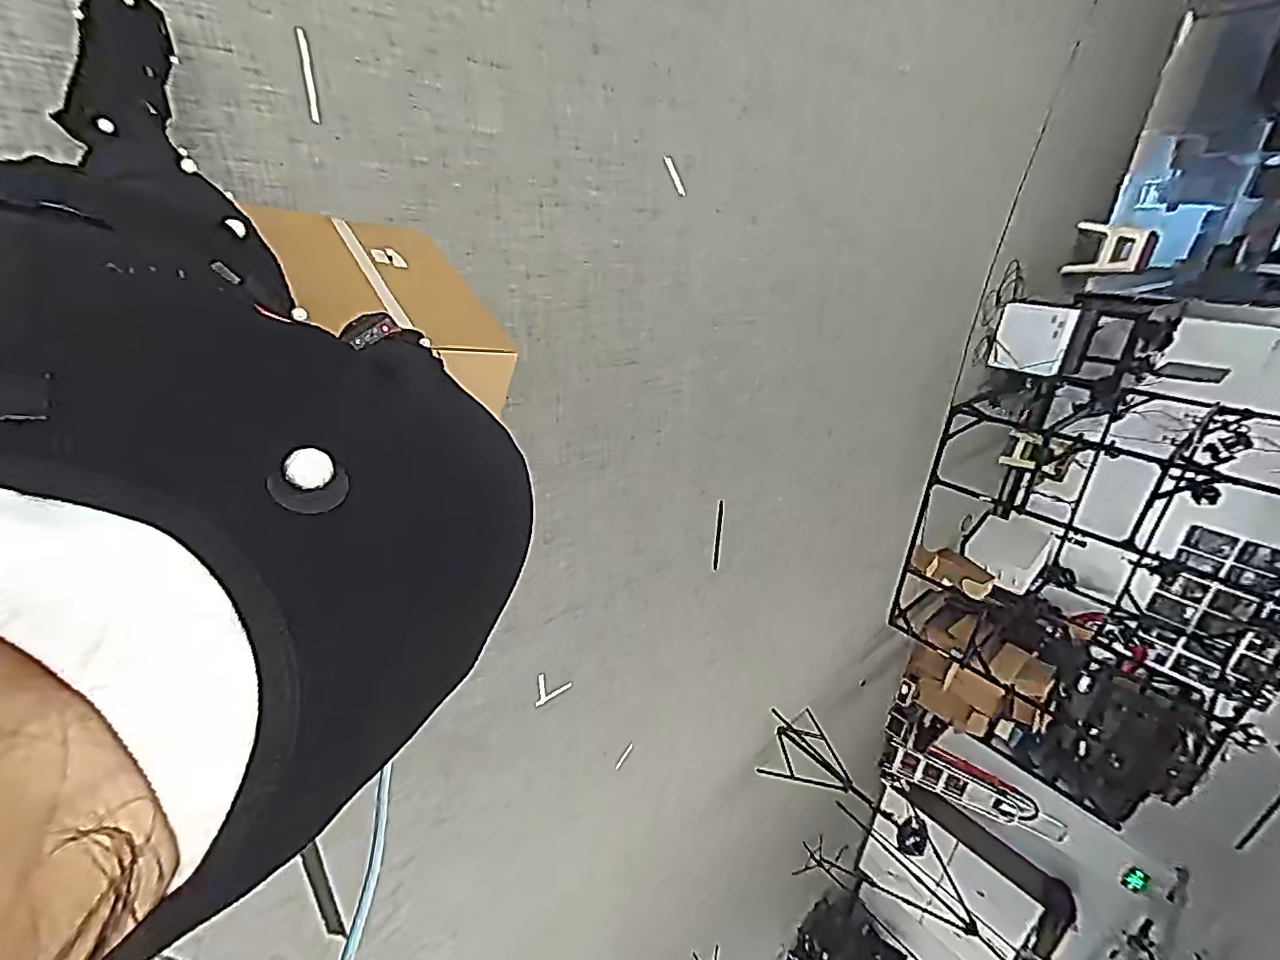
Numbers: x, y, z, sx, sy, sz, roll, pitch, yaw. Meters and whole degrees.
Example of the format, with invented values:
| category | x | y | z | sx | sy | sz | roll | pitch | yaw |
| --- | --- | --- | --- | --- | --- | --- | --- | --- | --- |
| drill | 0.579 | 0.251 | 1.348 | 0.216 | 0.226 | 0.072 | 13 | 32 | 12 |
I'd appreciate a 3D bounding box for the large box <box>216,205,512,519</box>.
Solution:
| category | x | y | z | sx | sy | sz | roll | pitch | yaw |
| --- | --- | --- | --- | --- | --- | --- | --- | --- | --- |
| large box | -0.473 | -0.197 | 0.906 | 0.320 | 0.408 | 0.320 | -9 | 137 | -43 |
